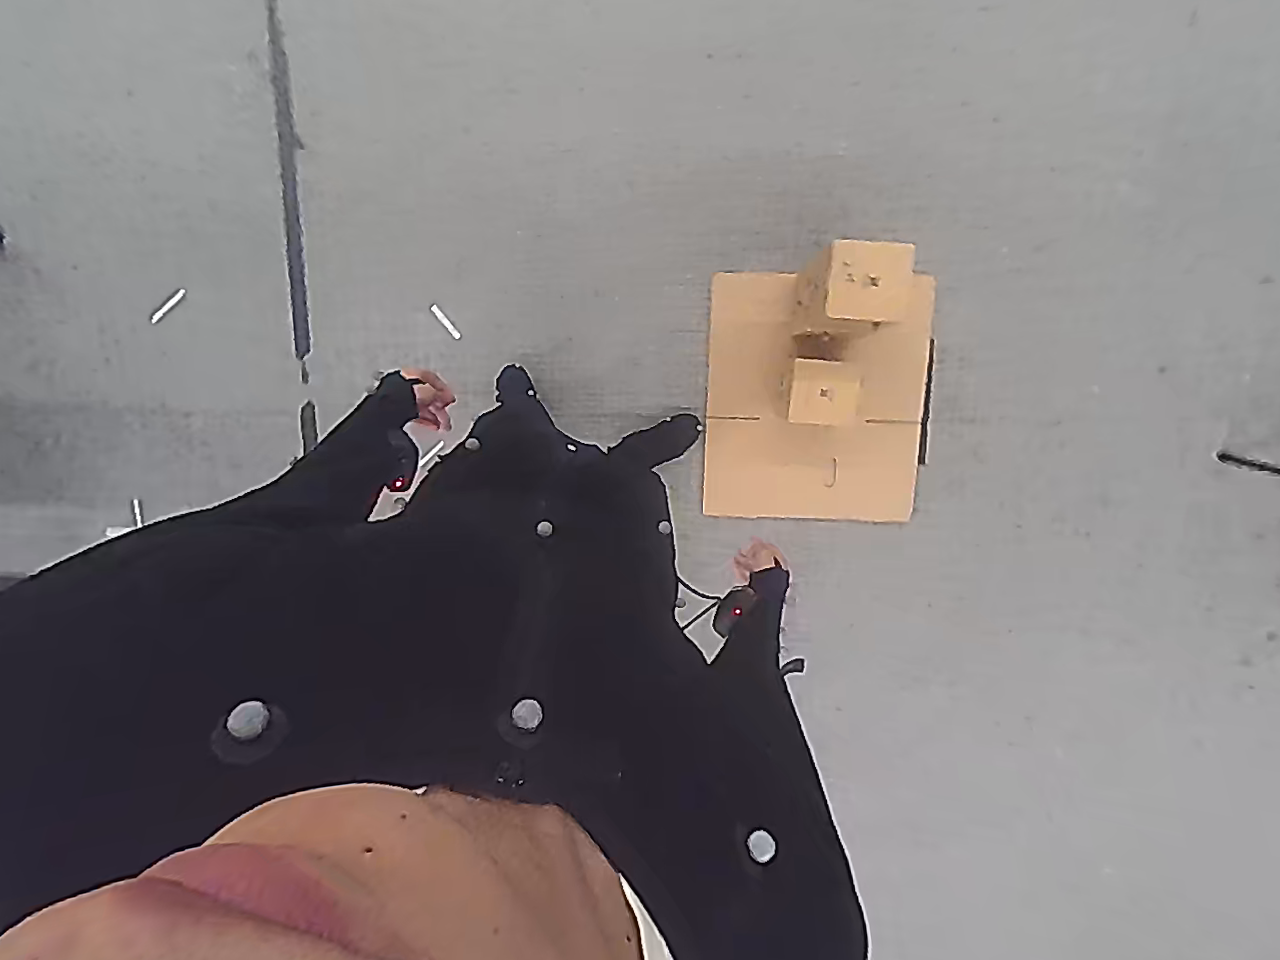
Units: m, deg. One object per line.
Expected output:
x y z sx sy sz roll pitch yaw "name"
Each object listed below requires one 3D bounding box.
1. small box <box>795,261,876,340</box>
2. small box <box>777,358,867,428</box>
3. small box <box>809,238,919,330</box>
0.509 -0.460 1.407 0.179 0.176 0.168 5 100 4 "small box"
0.480 -0.235 1.449 0.179 0.176 0.168 6 101 3 "small box"
0.505 -0.441 1.242 0.179 0.176 0.168 6 99 4 "small box"
